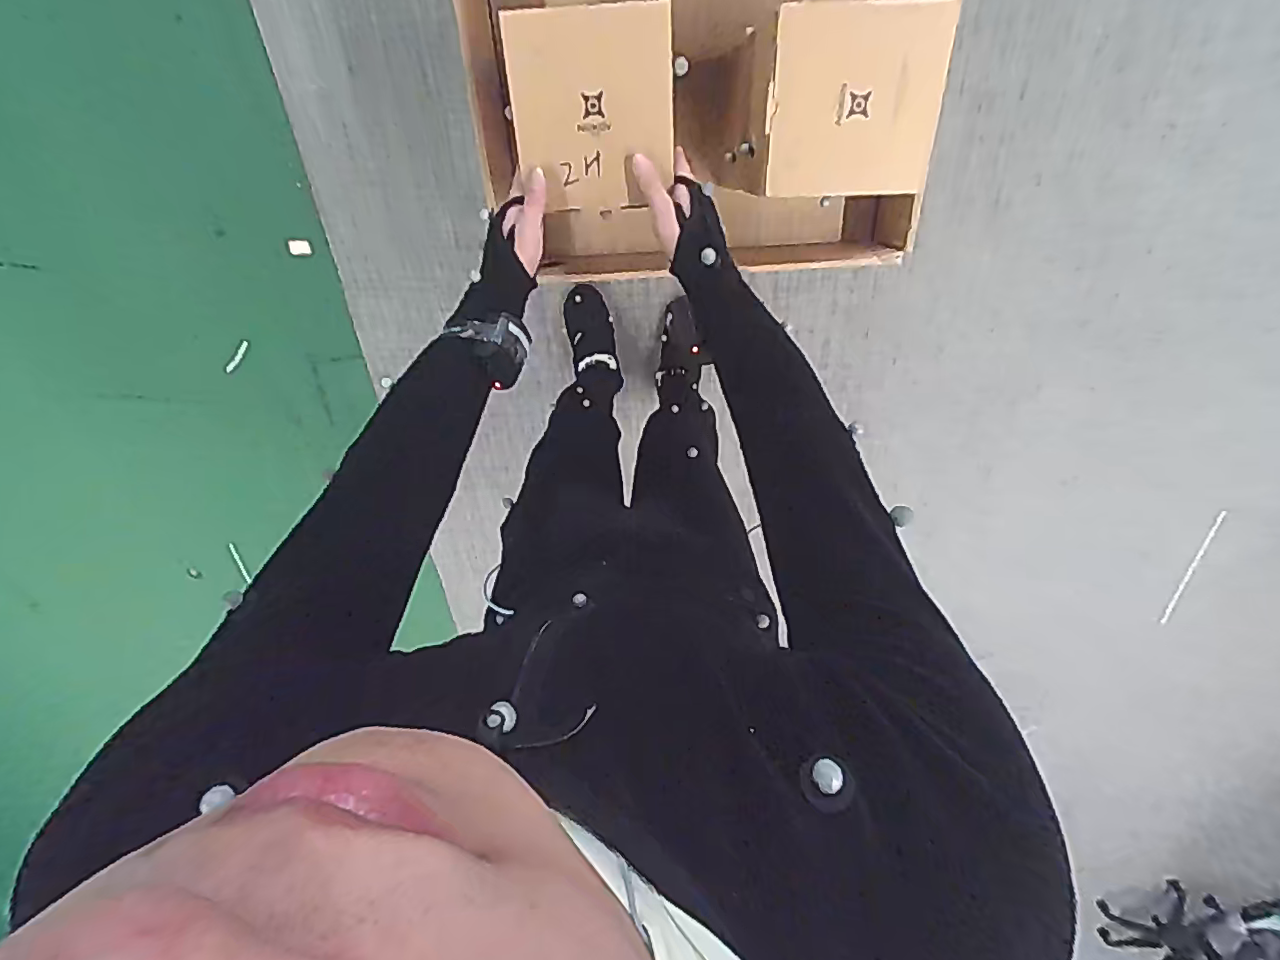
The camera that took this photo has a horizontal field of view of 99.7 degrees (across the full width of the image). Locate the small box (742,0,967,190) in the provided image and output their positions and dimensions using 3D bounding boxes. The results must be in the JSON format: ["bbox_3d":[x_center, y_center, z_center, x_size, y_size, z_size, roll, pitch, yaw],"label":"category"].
[{"bbox_3d":[0.218,-0.425,0.611,0.179,0.176,0.168,-2,122,-1],"label":"small box"}]

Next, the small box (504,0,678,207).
[{"bbox_3d":[-0.045,-0.412,0.611,0.168,0.176,0.179,-2,120,1],"label":"small box"}]
